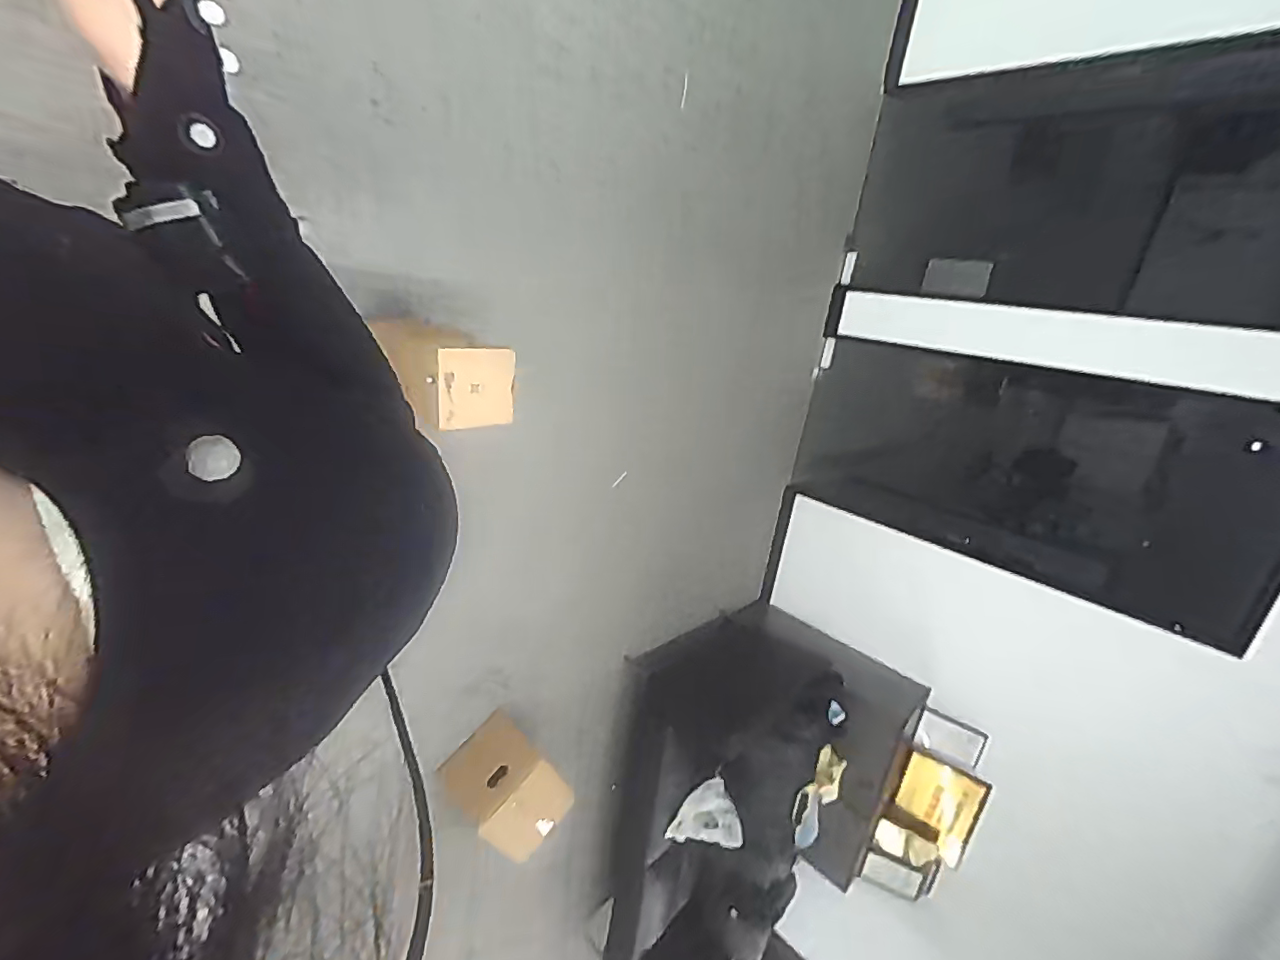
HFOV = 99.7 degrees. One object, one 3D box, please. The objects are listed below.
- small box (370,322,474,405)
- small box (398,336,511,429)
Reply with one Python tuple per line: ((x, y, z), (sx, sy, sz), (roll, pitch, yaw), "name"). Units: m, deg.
((-0.515, -0.277, 1.279), (0.179, 0.176, 0.168), (-12, 117, -44), "small box")
((-0.404, -0.217, 1.174), (0.179, 0.176, 0.168), (-13, 118, -45), "small box")
